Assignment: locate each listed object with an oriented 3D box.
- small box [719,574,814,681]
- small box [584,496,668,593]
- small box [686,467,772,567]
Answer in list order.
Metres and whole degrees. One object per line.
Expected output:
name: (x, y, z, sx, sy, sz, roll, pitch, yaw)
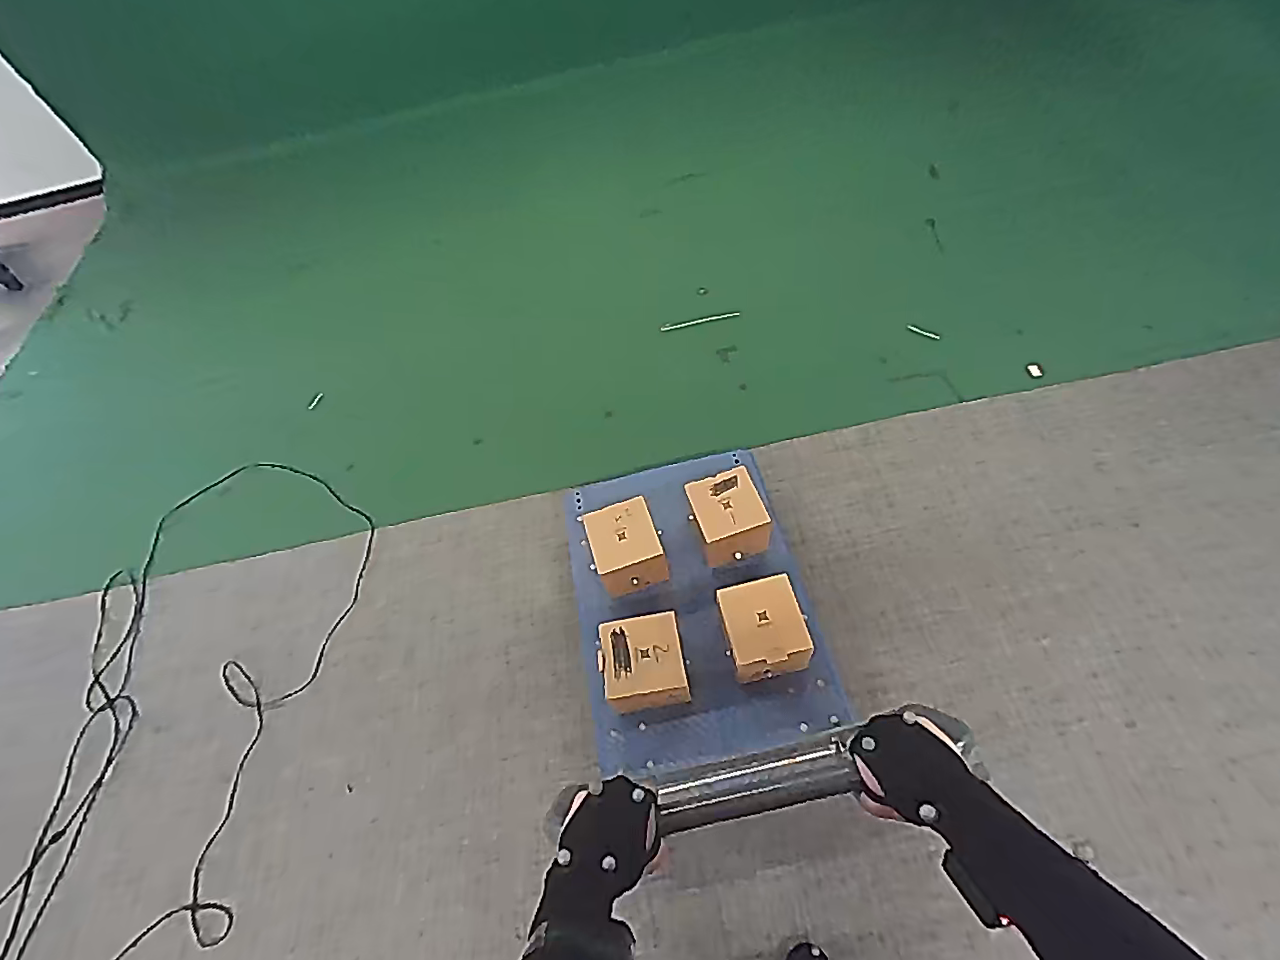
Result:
small box: (0.280, 0.342, 1.243, 0.168, 0.176, 0.179, -14, 57, 0)
small box: (-0.032, 0.175, 1.396, 0.168, 0.176, 0.179, -18, 57, -3)
small box: (0.226, 0.099, 1.403, 0.168, 0.176, 0.179, -18, 58, -2)
